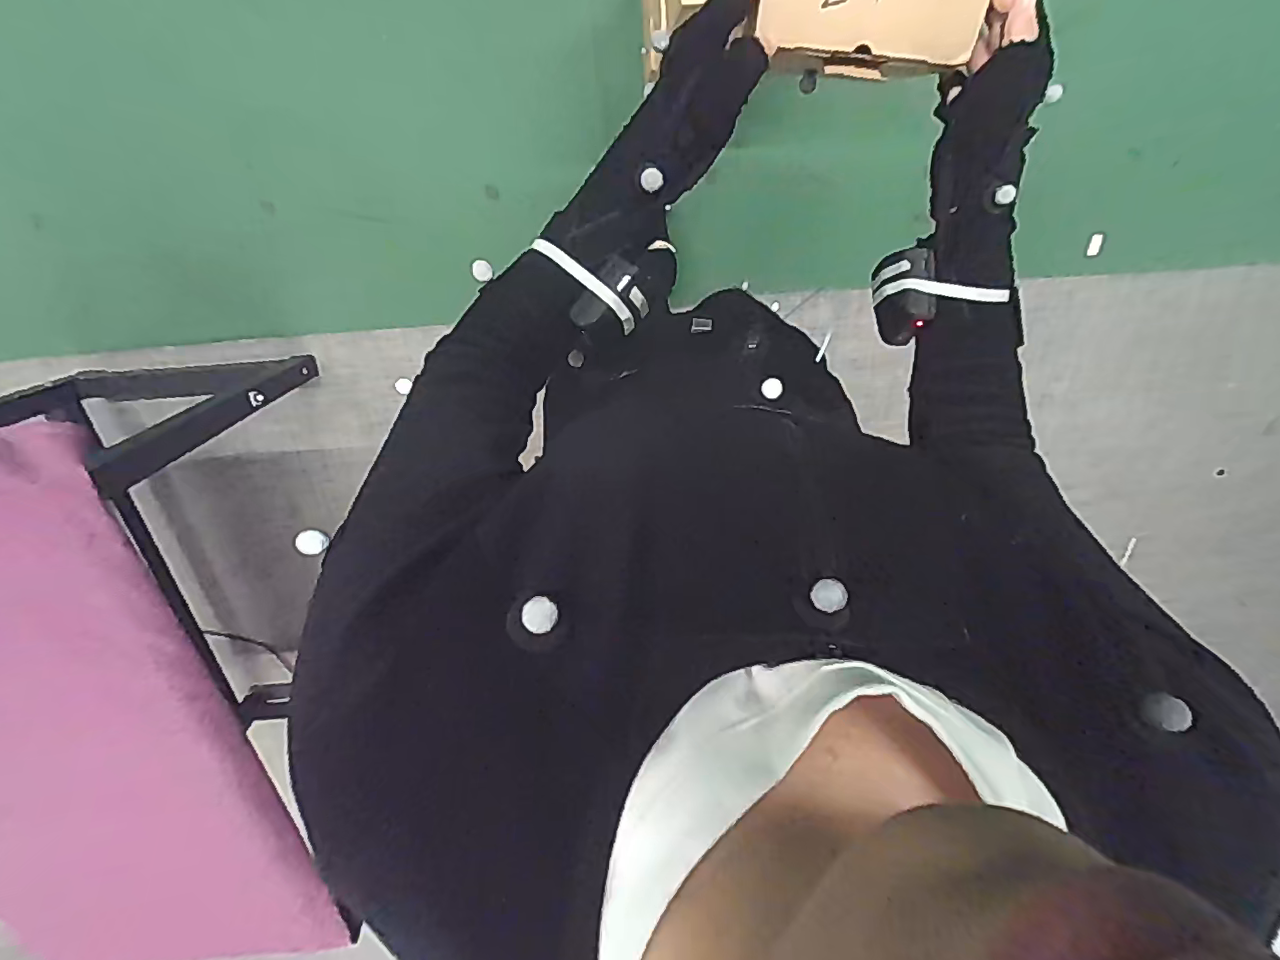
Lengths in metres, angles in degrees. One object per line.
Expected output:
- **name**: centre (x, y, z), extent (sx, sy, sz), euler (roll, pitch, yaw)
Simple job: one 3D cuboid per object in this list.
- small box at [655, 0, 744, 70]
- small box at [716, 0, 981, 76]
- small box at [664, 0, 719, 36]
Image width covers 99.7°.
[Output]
- **small box**: centre (0.114, -0.789, 0.881), extent (0.179, 0.176, 0.168), euler (-5, 117, -2)
- **small box**: centre (0.160, -0.431, 0.414), extent (0.168, 0.176, 0.179), euler (3, 124, -4)
- **small box**: centre (0.129, -0.725, 0.727), extent (0.179, 0.176, 0.168), euler (-3, 115, -3)
